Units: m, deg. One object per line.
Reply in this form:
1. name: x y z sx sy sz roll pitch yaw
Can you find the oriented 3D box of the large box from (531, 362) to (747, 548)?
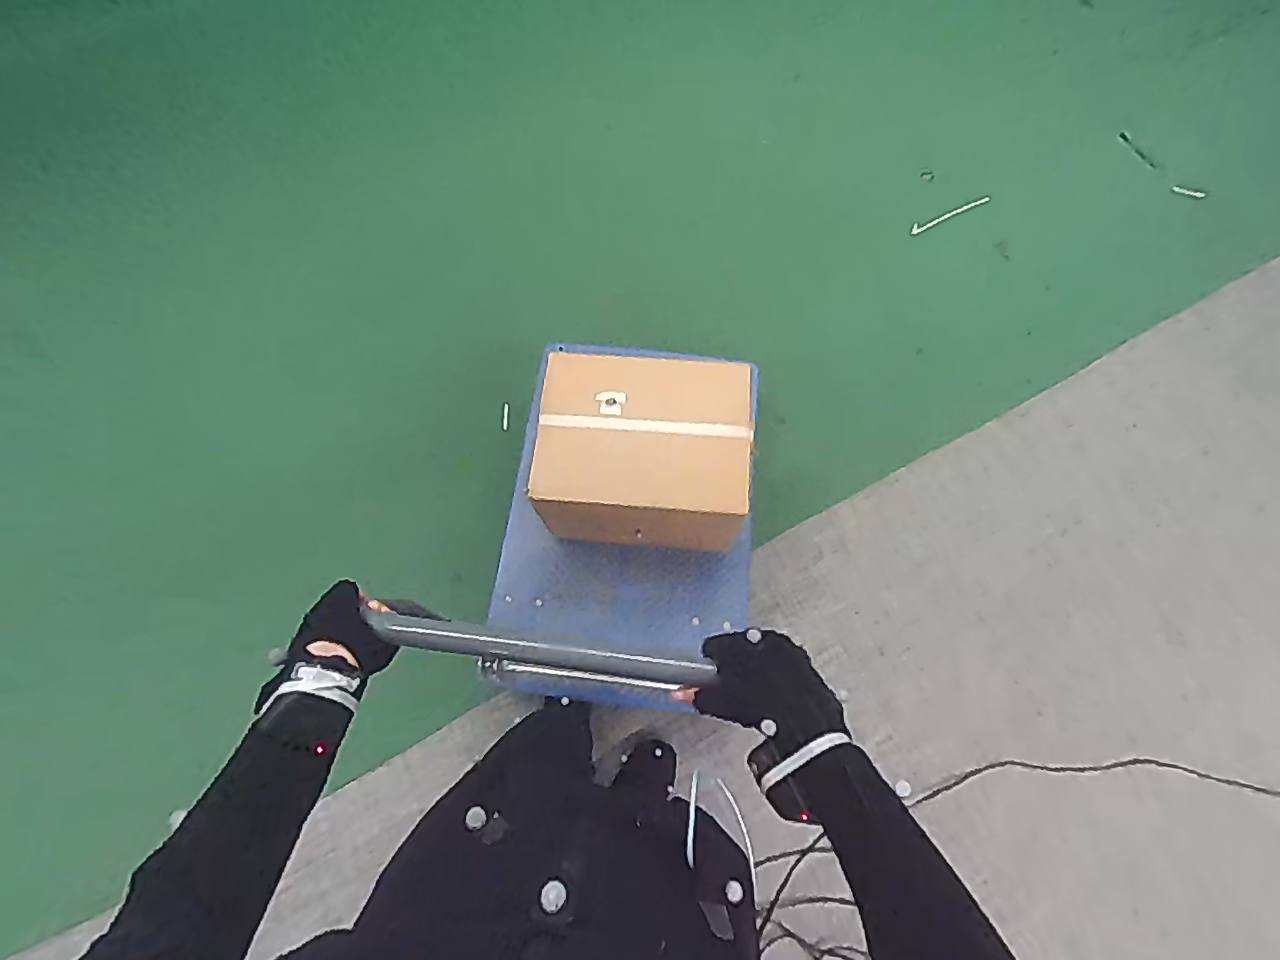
1. large box: 0.012 -0.038 1.180 0.408 0.320 0.320 4 70 3
